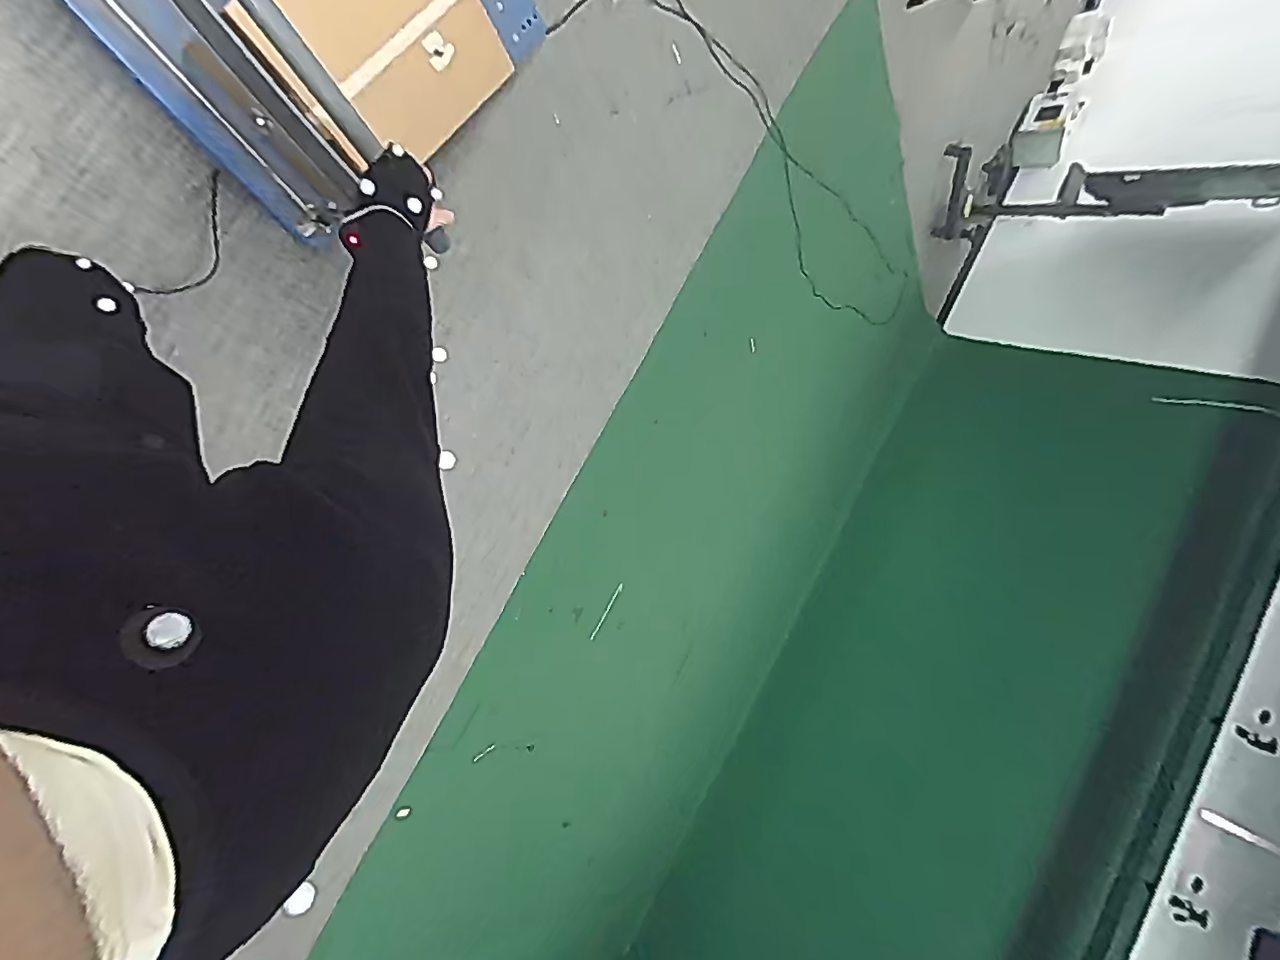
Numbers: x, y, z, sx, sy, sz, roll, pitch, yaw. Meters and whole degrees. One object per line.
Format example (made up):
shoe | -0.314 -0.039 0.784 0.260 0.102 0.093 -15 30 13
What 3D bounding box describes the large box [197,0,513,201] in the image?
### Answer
large box | -0.539 -0.813 1.051 0.408 0.320 0.320 -56 141 -15
